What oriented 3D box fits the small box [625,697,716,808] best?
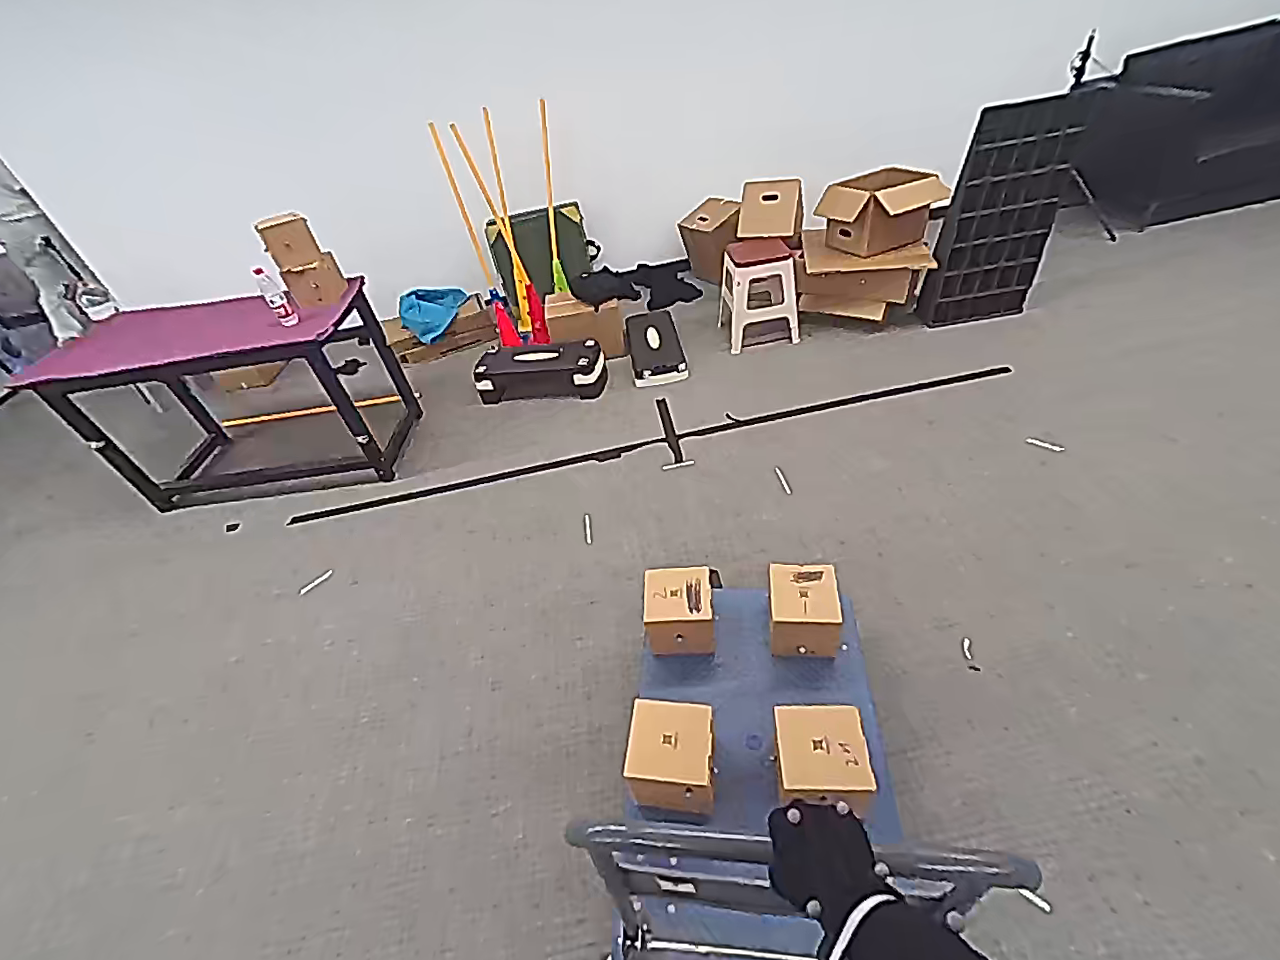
[{"bbox_3d":[0.075,0.603,1.196,0.179,0.176,0.168,1,43,10],"label":"small box"}]

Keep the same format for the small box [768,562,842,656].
[{"bbox_3d":[0.425,0.336,1.416,0.168,0.176,0.179,-1,44,11],"label":"small box"}]

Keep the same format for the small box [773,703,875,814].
[{"bbox_3d":[0.380,0.592,1.147,0.179,0.176,0.168,-3,43,8],"label":"small box"}]
